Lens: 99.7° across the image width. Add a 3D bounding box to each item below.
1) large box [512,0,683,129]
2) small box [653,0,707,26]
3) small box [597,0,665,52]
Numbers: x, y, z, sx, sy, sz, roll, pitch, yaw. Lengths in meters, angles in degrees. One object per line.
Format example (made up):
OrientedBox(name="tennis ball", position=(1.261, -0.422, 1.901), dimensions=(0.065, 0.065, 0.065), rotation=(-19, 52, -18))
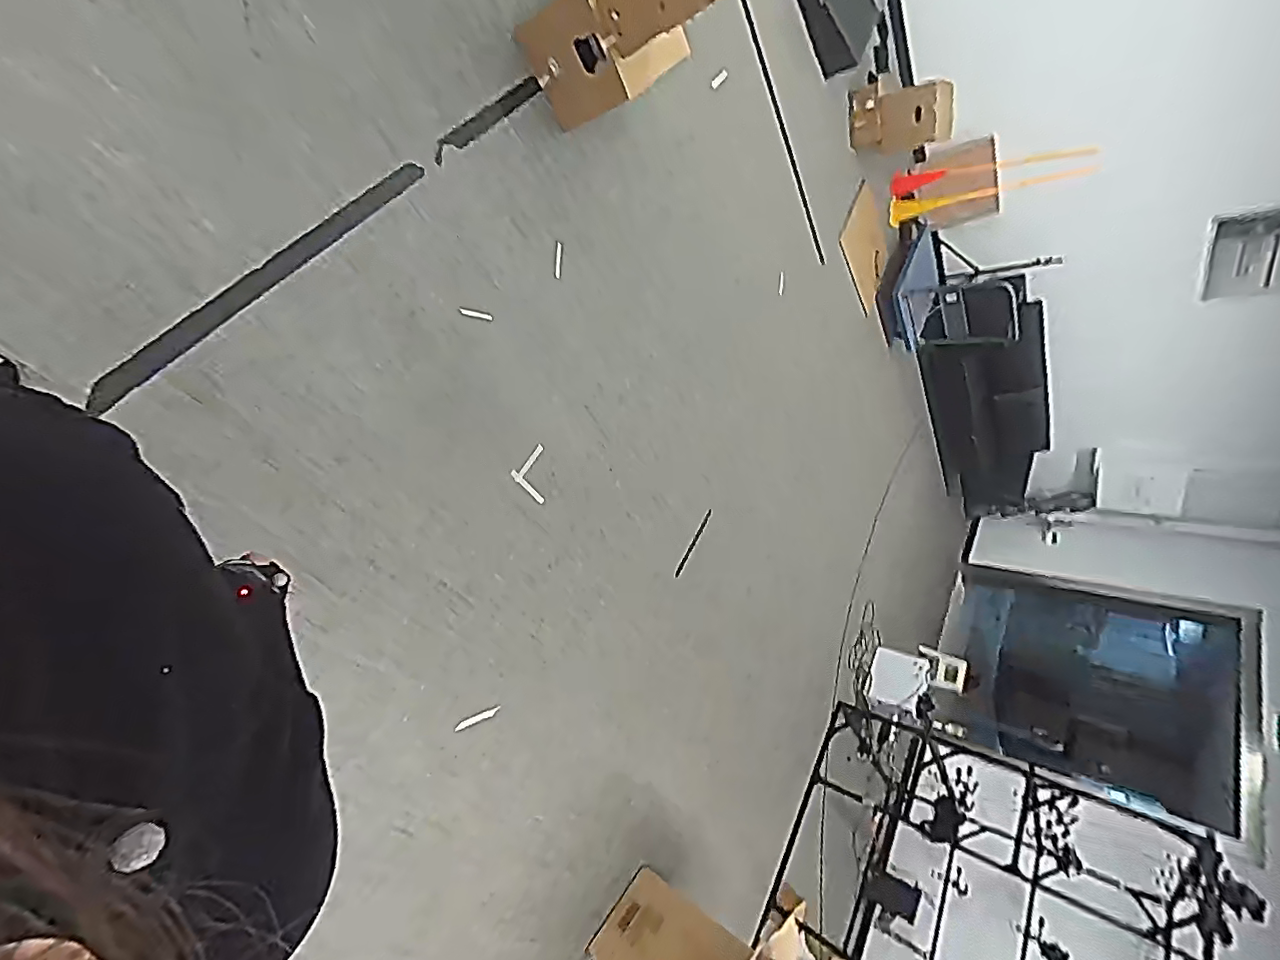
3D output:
OrientedBox(name="large box", position=(-0.129, -1.427, 1.745), dimensions=(0.408, 0.320, 0.320), rotation=(-57, 132, -27))
OrientedBox(name="small box", position=(0.125, -1.359, 1.424), dimensions=(0.168, 0.176, 0.179), rotation=(49, 59, -36))
OrientedBox(name="small box", position=(0.006, -1.372, 1.536), dimensions=(0.179, 0.176, 0.168), rotation=(-57, 130, -26))
